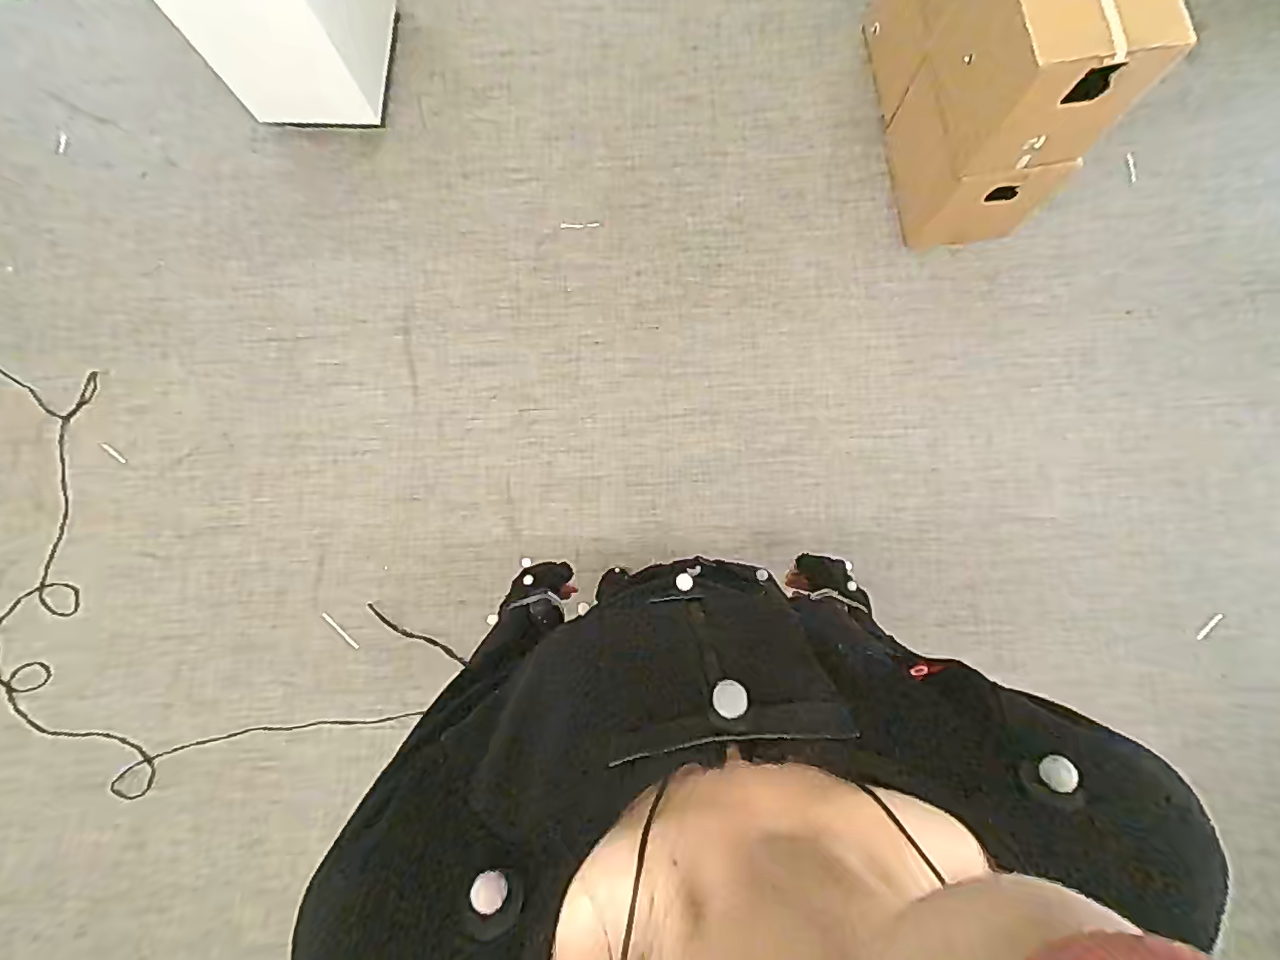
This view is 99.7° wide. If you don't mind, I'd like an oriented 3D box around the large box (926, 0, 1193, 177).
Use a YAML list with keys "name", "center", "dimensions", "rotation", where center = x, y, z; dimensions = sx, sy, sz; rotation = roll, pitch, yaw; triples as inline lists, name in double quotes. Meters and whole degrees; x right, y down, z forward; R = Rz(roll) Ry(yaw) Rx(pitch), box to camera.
- name: "large box"
  center: [0.919, -0.998, 1.247]
  dimensions: [0.320, 0.320, 0.408]
  rotation: [-8, 79, 1]
